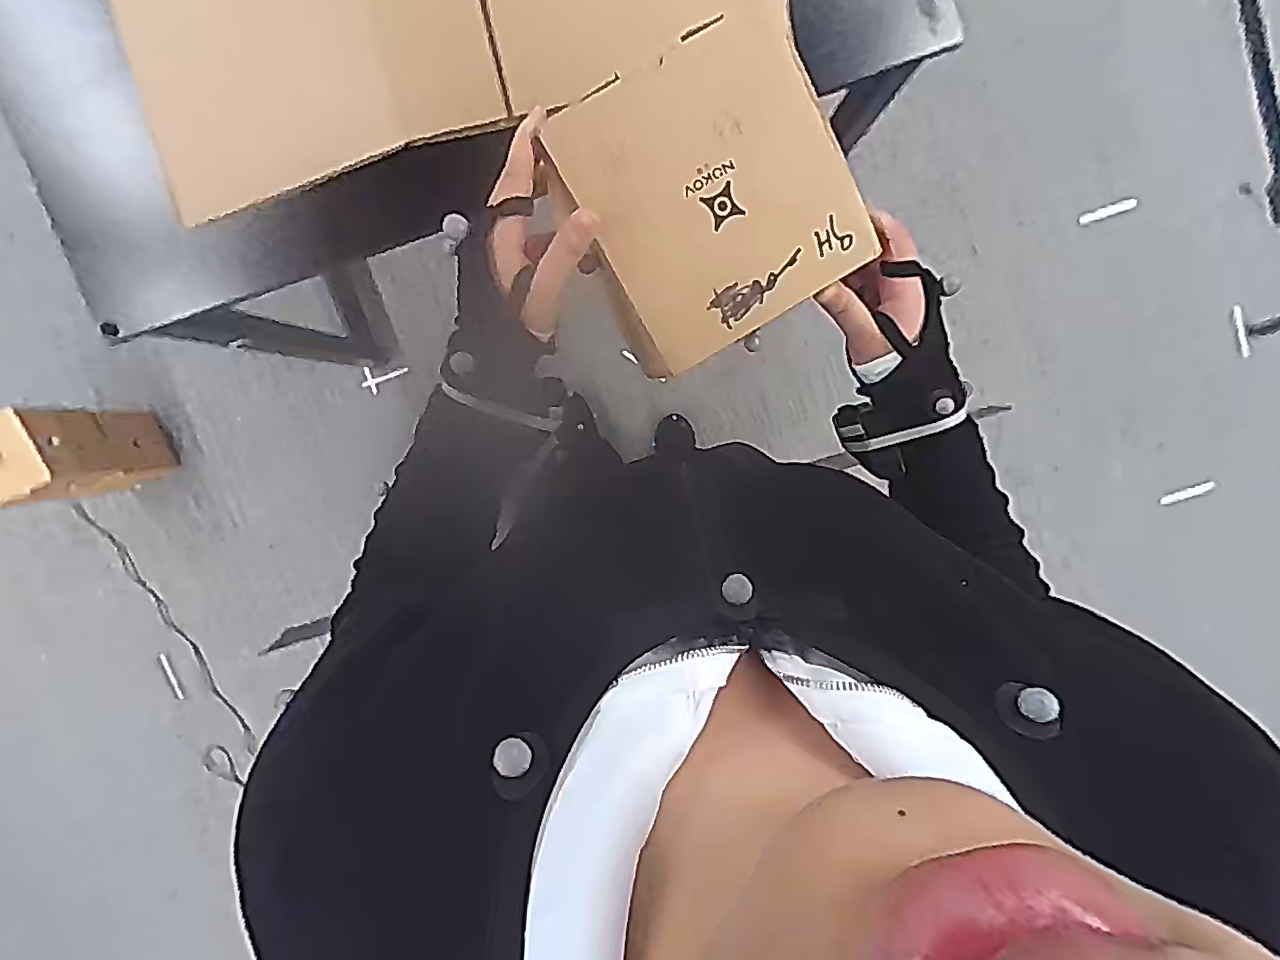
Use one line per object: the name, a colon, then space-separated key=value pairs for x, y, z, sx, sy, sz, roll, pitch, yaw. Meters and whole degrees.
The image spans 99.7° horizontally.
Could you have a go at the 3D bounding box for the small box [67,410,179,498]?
small box: x=-1.370 y=-0.070 z=1.403 sx=0.168 sy=0.176 sz=0.179 roll=-22 pitch=97 yaw=3

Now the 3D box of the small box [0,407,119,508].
small box: x=-1.374 y=-0.056 z=1.241 sx=0.168 sy=0.176 sz=0.179 roll=-25 pitch=95 yaw=2

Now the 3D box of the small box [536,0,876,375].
small box: x=0.038 y=-0.195 z=0.421 sx=0.168 sy=0.176 sz=0.179 roll=-31 pitch=101 yaw=1
